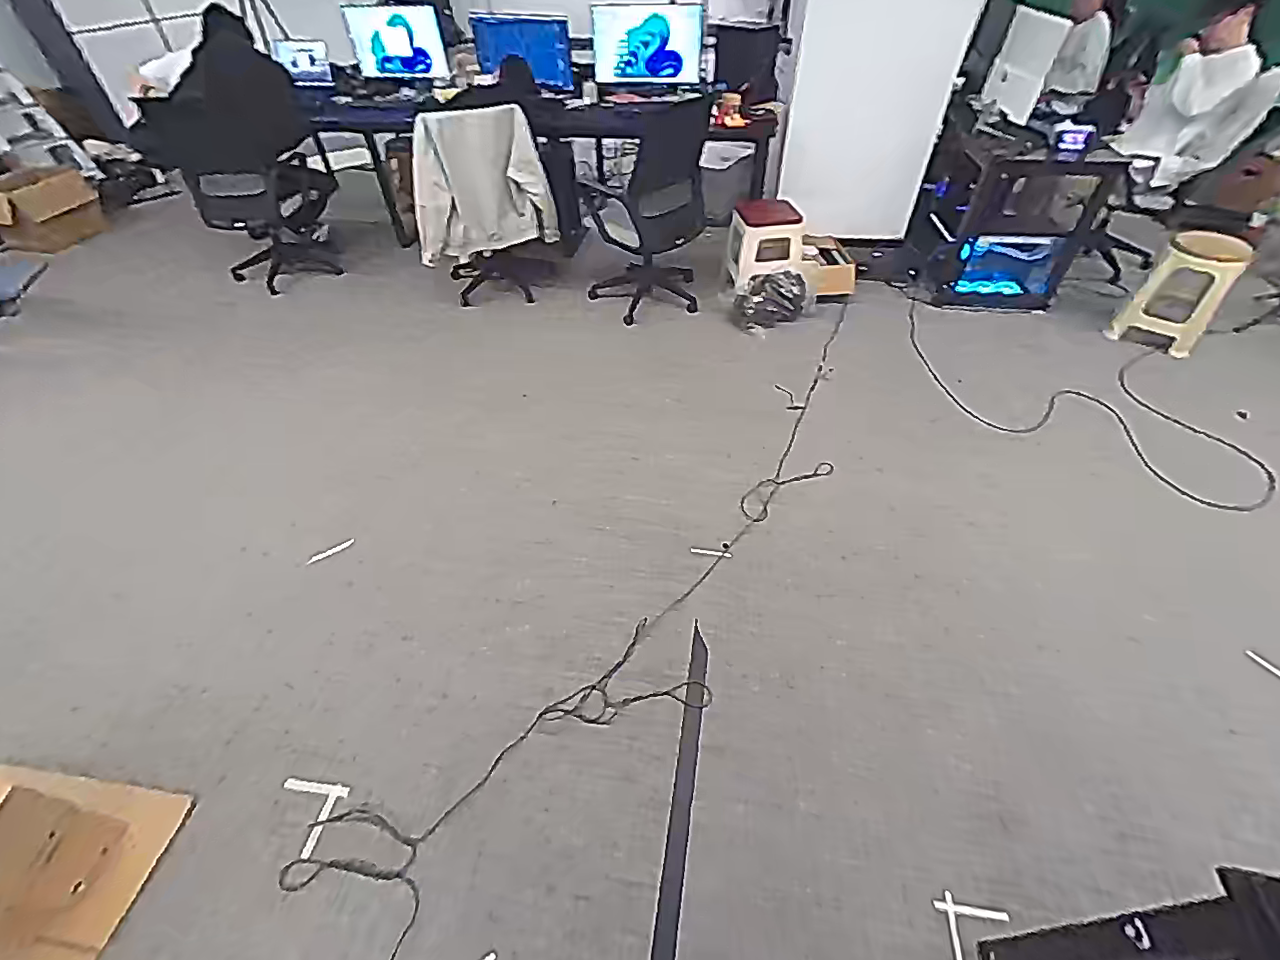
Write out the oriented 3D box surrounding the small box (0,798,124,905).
[{"bbox_3d":[-1.329,0.826,1.200,0.179,0.176,0.168,2,46,4],"label":"small box"}]
